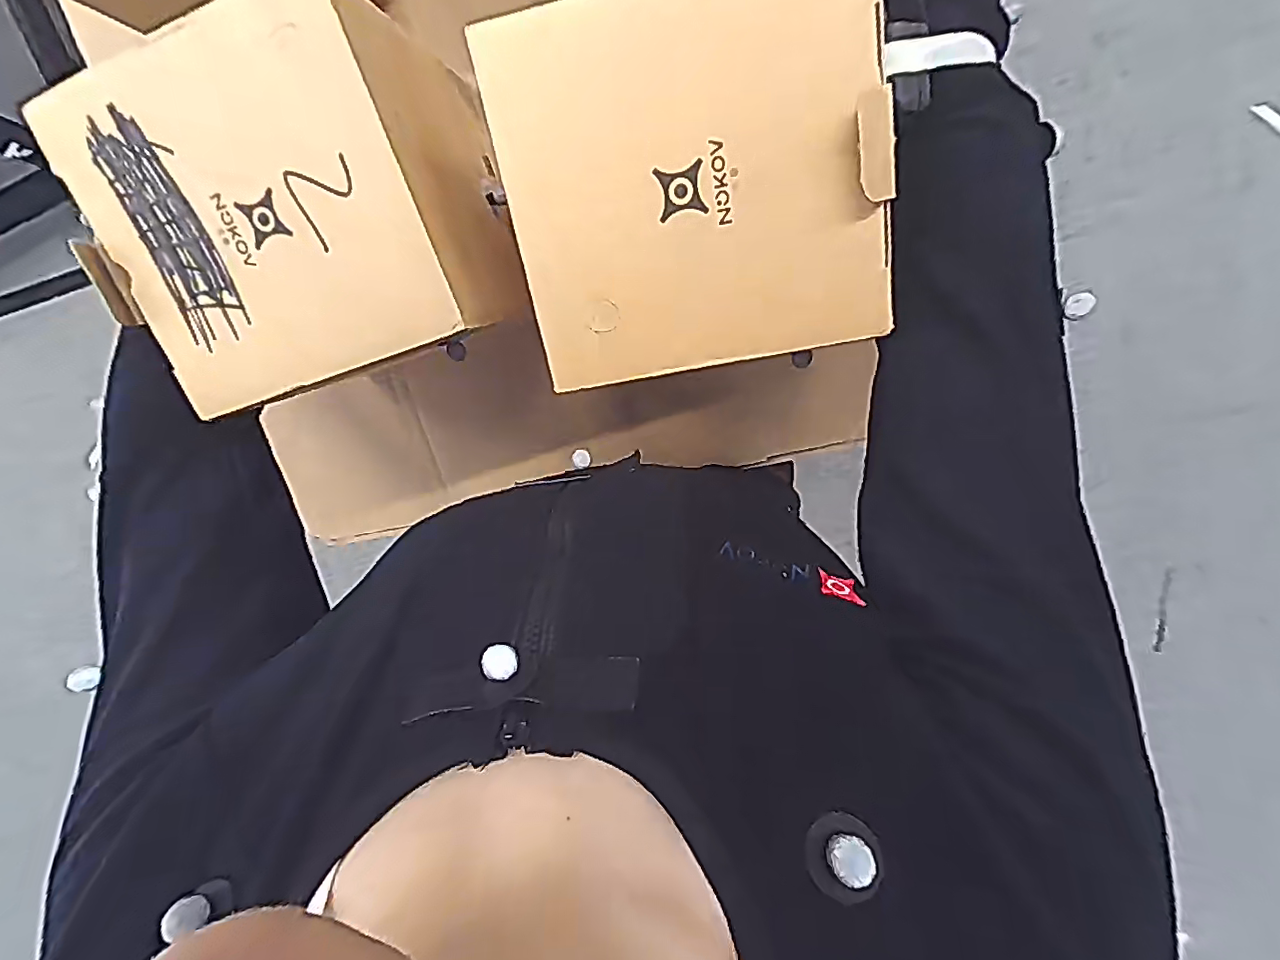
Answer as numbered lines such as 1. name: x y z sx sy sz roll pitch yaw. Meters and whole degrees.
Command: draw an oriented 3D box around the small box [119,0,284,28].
1. small box: -0.277 -0.385 0.284 0.168 0.176 0.179 -12 106 10
